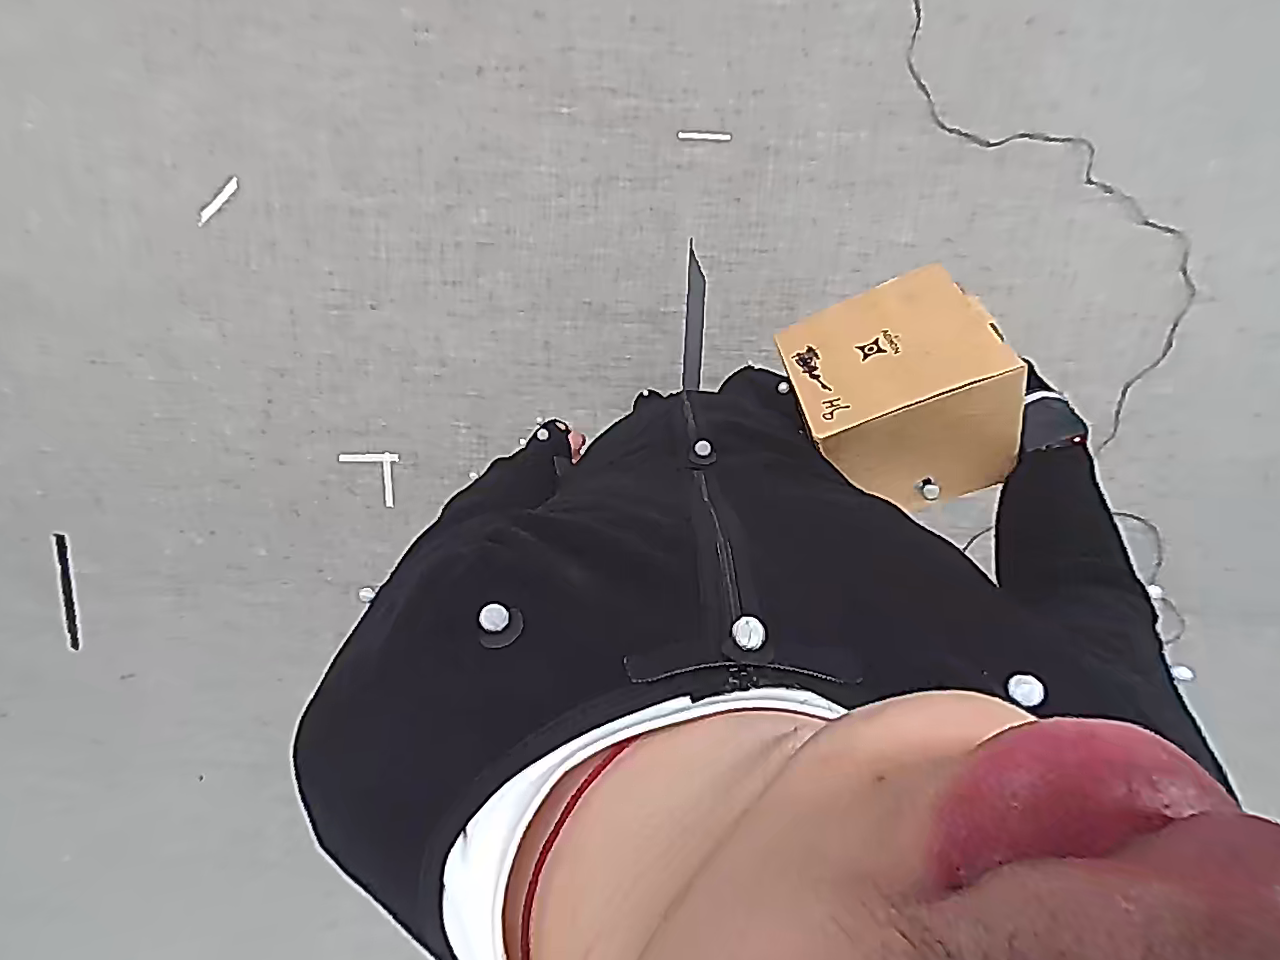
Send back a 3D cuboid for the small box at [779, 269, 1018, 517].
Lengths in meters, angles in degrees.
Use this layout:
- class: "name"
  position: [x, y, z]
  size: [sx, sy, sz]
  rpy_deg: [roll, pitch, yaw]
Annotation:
- class: "small box"
  position: [0.271, -0.086, 0.589]
  size: [0.179, 0.168, 0.176]
  rpy_deg: [-20, 137, 17]
